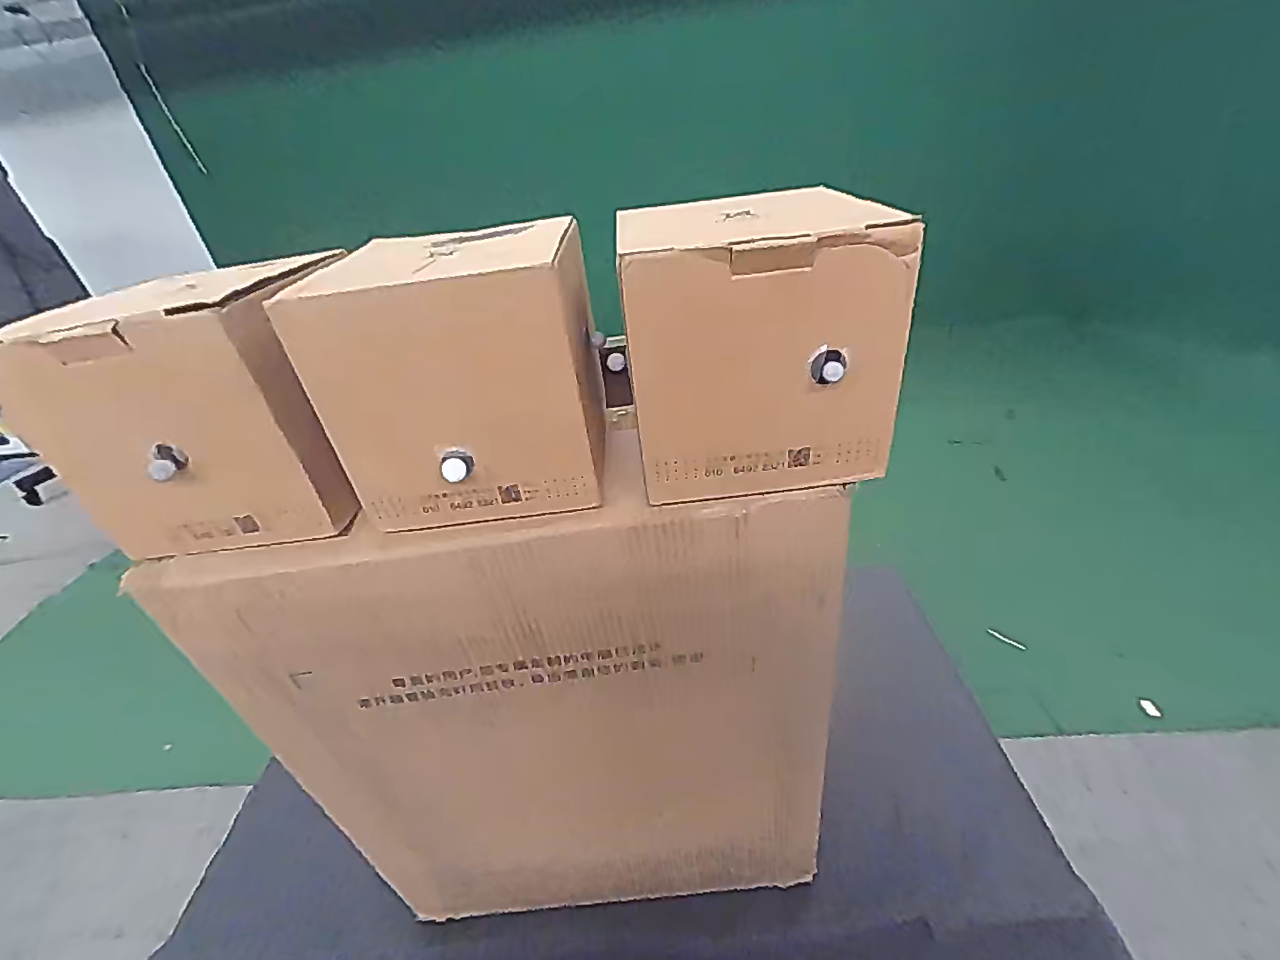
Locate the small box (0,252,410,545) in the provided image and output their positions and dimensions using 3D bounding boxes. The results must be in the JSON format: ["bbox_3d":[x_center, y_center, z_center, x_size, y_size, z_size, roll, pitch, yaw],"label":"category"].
[{"bbox_3d":[-0.308,-0.062,0.426,0.168,0.176,0.179,-7,34,3],"label":"small box"}]

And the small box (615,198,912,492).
[{"bbox_3d":[0.072,-0.101,0.405,0.168,0.176,0.179,-5,32,-1],"label":"small box"}]
